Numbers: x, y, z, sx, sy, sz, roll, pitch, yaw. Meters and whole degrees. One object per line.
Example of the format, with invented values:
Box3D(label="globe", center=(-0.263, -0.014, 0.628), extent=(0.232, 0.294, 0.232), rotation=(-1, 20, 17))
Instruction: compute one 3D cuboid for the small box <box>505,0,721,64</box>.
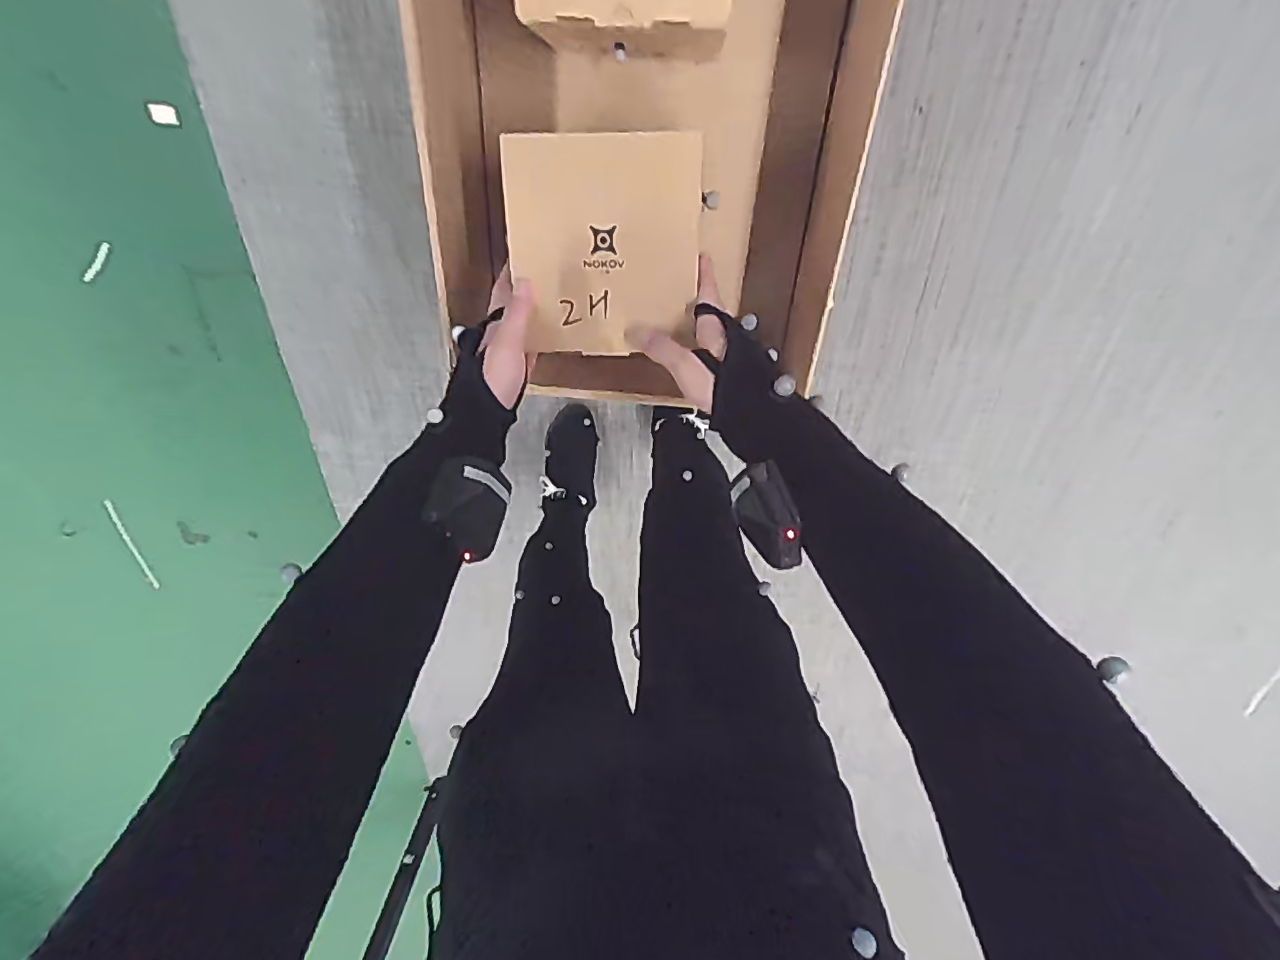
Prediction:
Box3D(label="small box", center=(-0.014, -0.462, 0.439), extent=(0.168, 0.176, 0.179), rotation=(3, 122, 2))

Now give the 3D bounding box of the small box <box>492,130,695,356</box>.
Box3D(label="small box", center=(-0.032, -0.225, 0.532), extent=(0.168, 0.176, 0.179), rotation=(2, 113, 6))
